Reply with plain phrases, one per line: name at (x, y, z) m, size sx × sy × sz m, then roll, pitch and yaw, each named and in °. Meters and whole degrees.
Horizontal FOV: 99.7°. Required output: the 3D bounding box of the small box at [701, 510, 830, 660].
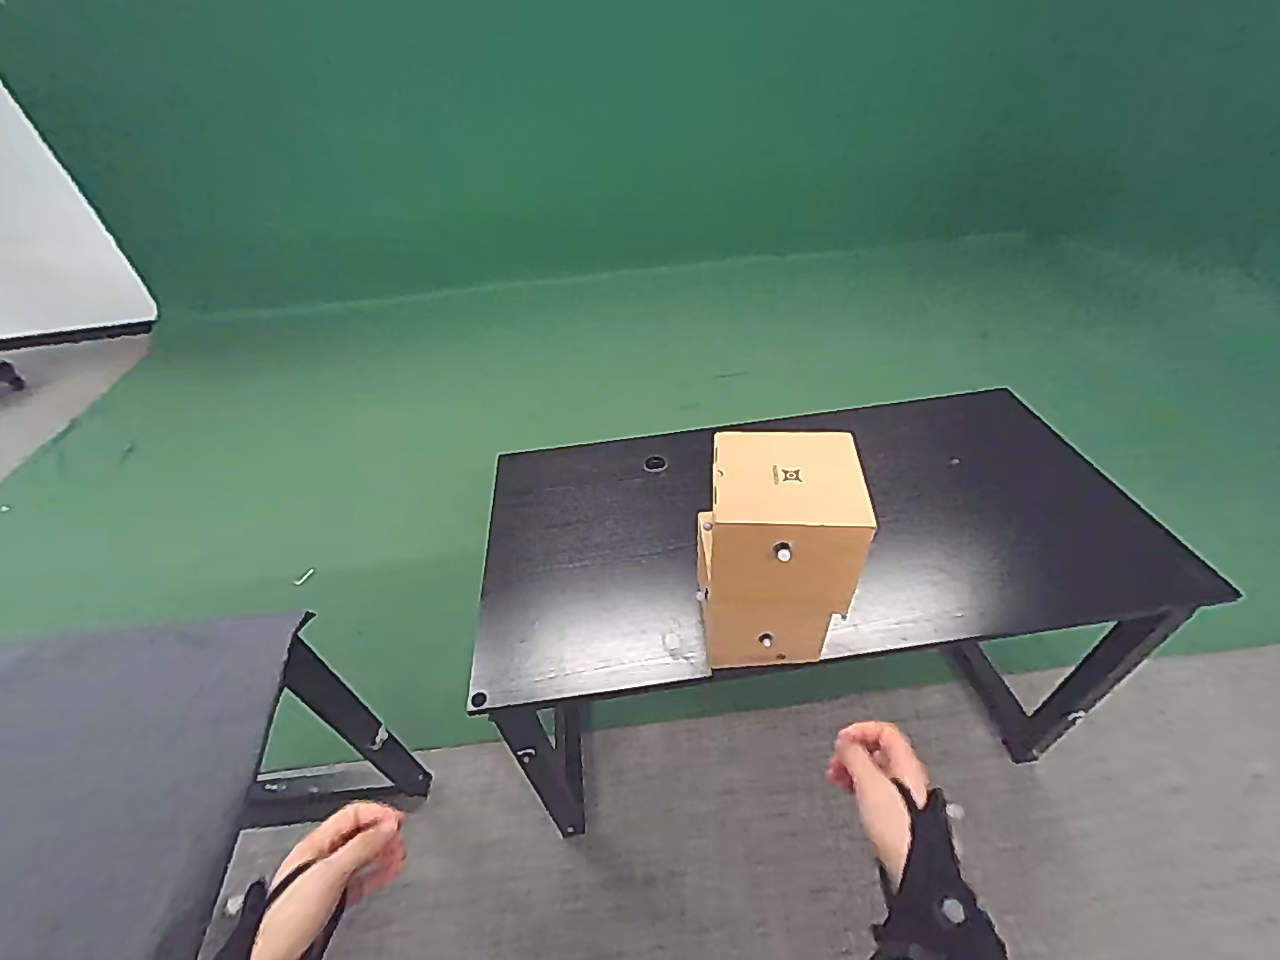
small box at (0.184, 0.159, 0.822) m, size 0.168 × 0.176 × 0.179 m, roll -4°, pitch 42°, yaw 1°

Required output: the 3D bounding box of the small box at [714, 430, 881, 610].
small box at (0.186, 0.053, 0.697) m, size 0.179 × 0.176 × 0.168 m, roll 0°, pitch 43°, yaw 7°
